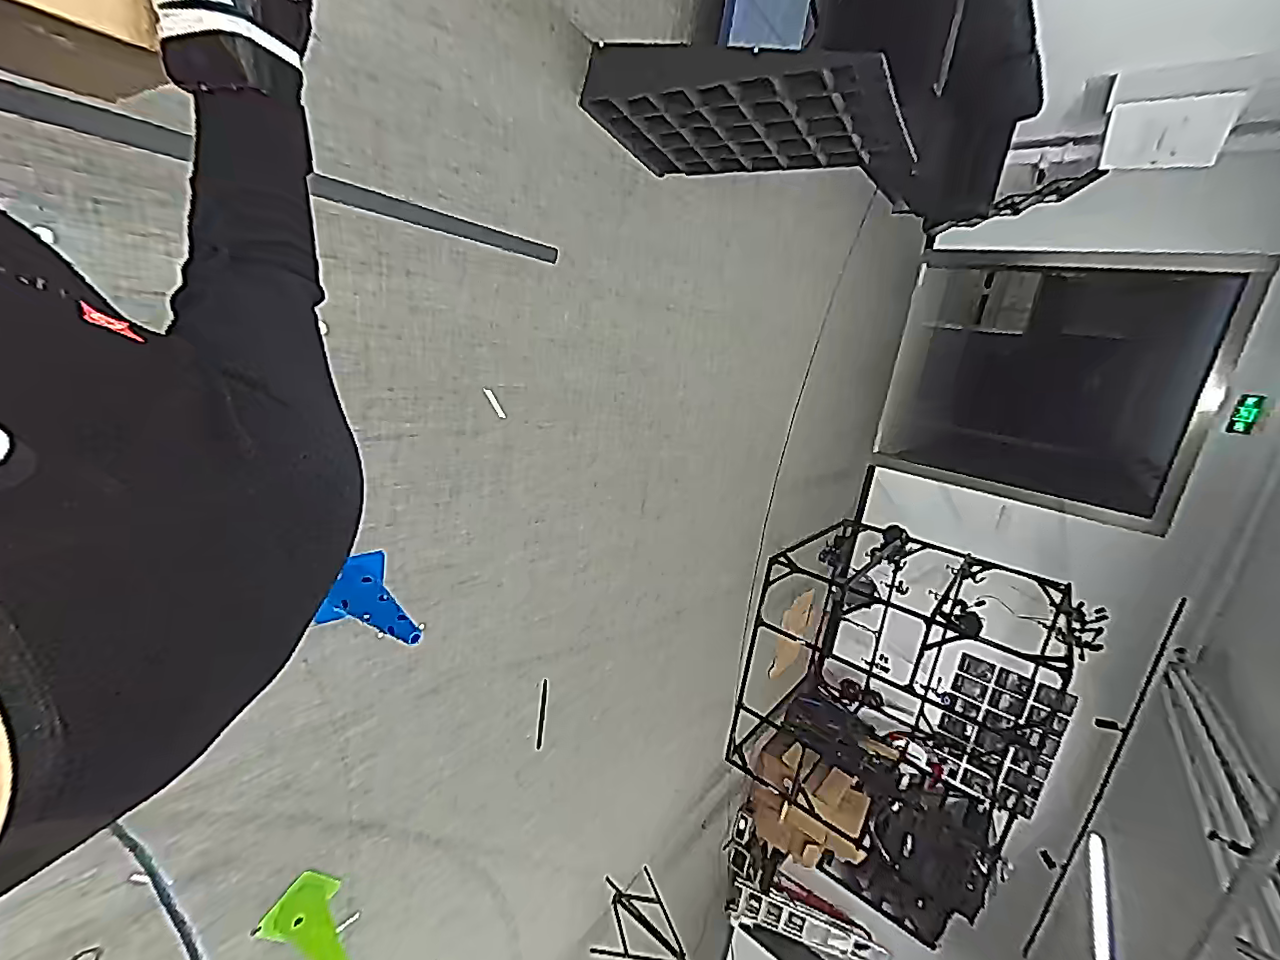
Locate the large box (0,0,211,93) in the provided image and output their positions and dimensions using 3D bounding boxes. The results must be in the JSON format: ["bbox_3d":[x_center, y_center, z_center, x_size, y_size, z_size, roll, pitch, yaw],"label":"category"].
[{"bbox_3d":[-0.518,-0.457,0.266,0.408,0.320,0.320,-13,119,-52],"label":"large box"}]

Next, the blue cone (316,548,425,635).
[{"bbox_3d":[-0.741,0.349,1.534,0.192,0.380,0.193,-6,111,-54],"label":"blue cone"}]

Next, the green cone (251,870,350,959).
[{"bbox_3d":[-0.992,1.443,1.681,0.202,0.368,0.200,-51,142,-29],"label":"green cone"}]
